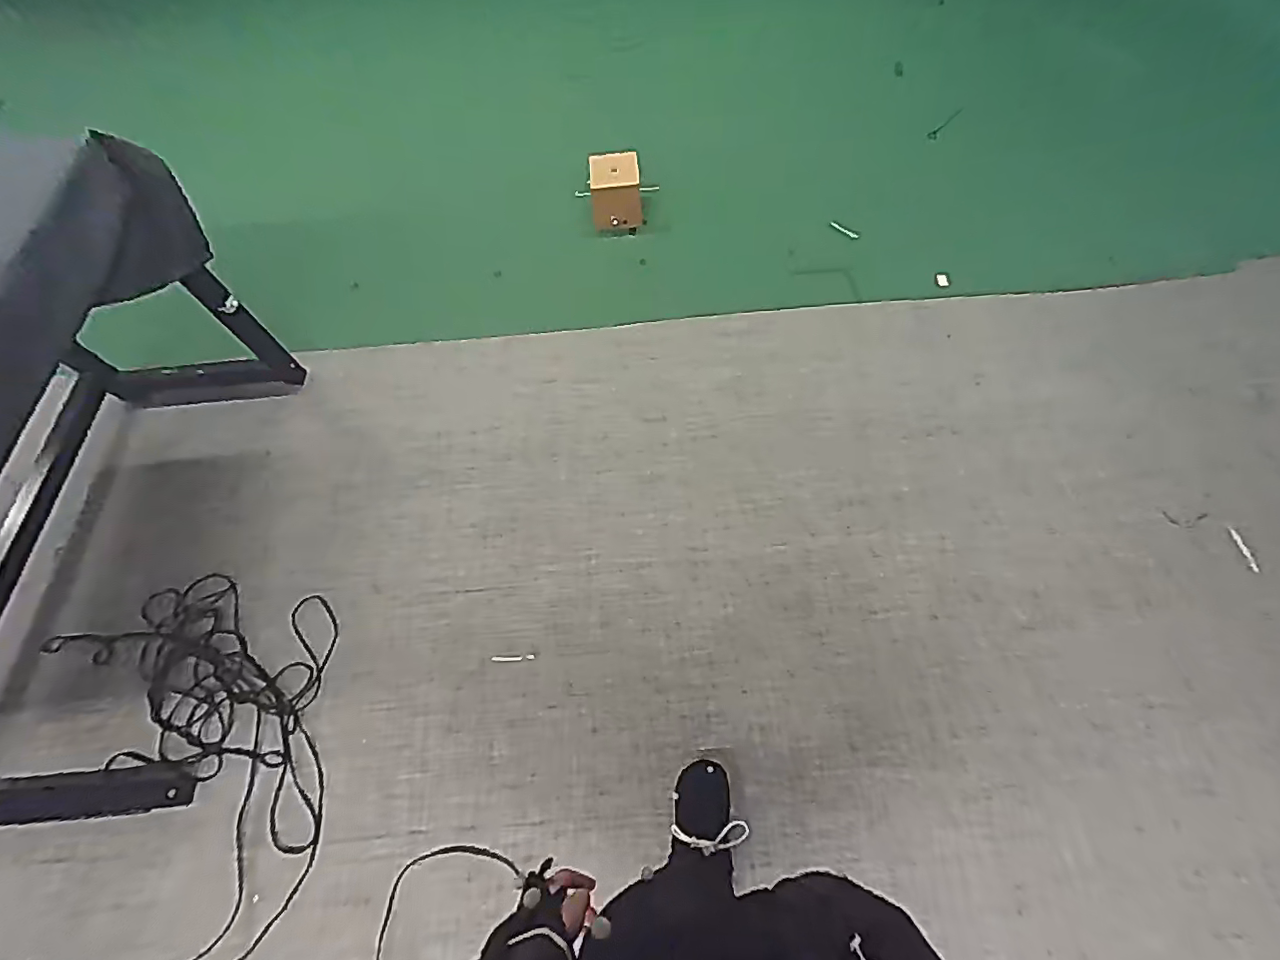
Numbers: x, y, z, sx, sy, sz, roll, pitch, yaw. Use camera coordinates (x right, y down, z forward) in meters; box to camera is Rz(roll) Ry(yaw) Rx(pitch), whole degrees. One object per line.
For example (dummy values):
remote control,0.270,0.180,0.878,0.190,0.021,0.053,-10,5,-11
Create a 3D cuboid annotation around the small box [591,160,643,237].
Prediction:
small box,-0.079,-0.983,1.892,0.168,0.176,0.179,-6,63,1
